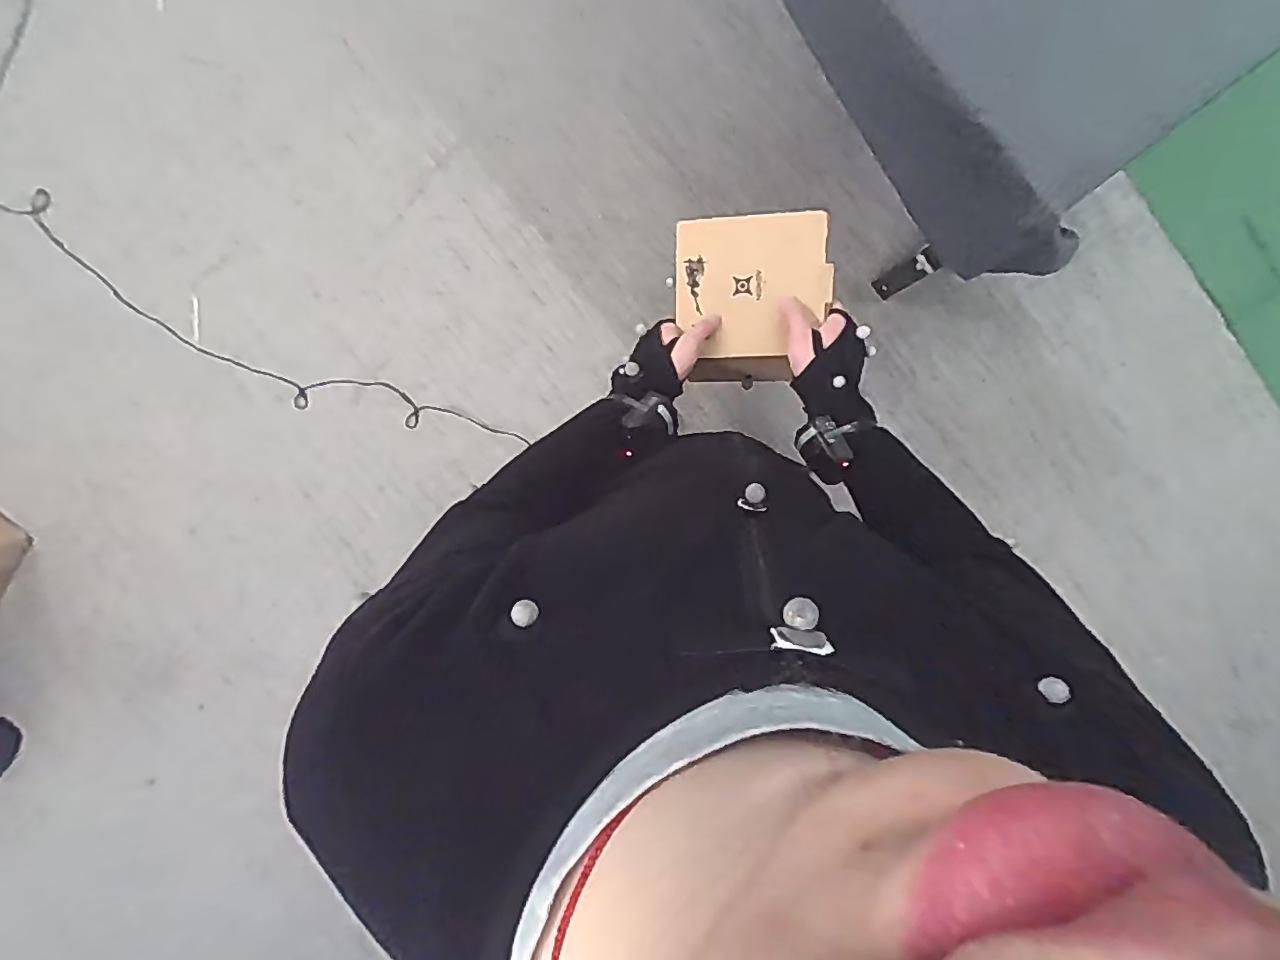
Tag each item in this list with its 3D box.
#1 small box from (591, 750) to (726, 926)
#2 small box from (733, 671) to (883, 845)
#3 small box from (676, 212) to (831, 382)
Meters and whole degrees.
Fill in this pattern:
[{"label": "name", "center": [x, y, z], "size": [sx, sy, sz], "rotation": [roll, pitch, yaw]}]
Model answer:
[{"label": "small box", "center": [0.038, 0.641, 0.987], "size": [0.179, 0.176, 0.168], "rotation": [-35, 95, 9]}, {"label": "small box", "center": [0.275, 0.467, 0.933], "size": [0.179, 0.176, 0.168], "rotation": [-37, 94, 12]}, {"label": "small box", "center": [0.139, -0.225, 0.701], "size": [0.179, 0.176, 0.168], "rotation": [0, 90, 8]}]
